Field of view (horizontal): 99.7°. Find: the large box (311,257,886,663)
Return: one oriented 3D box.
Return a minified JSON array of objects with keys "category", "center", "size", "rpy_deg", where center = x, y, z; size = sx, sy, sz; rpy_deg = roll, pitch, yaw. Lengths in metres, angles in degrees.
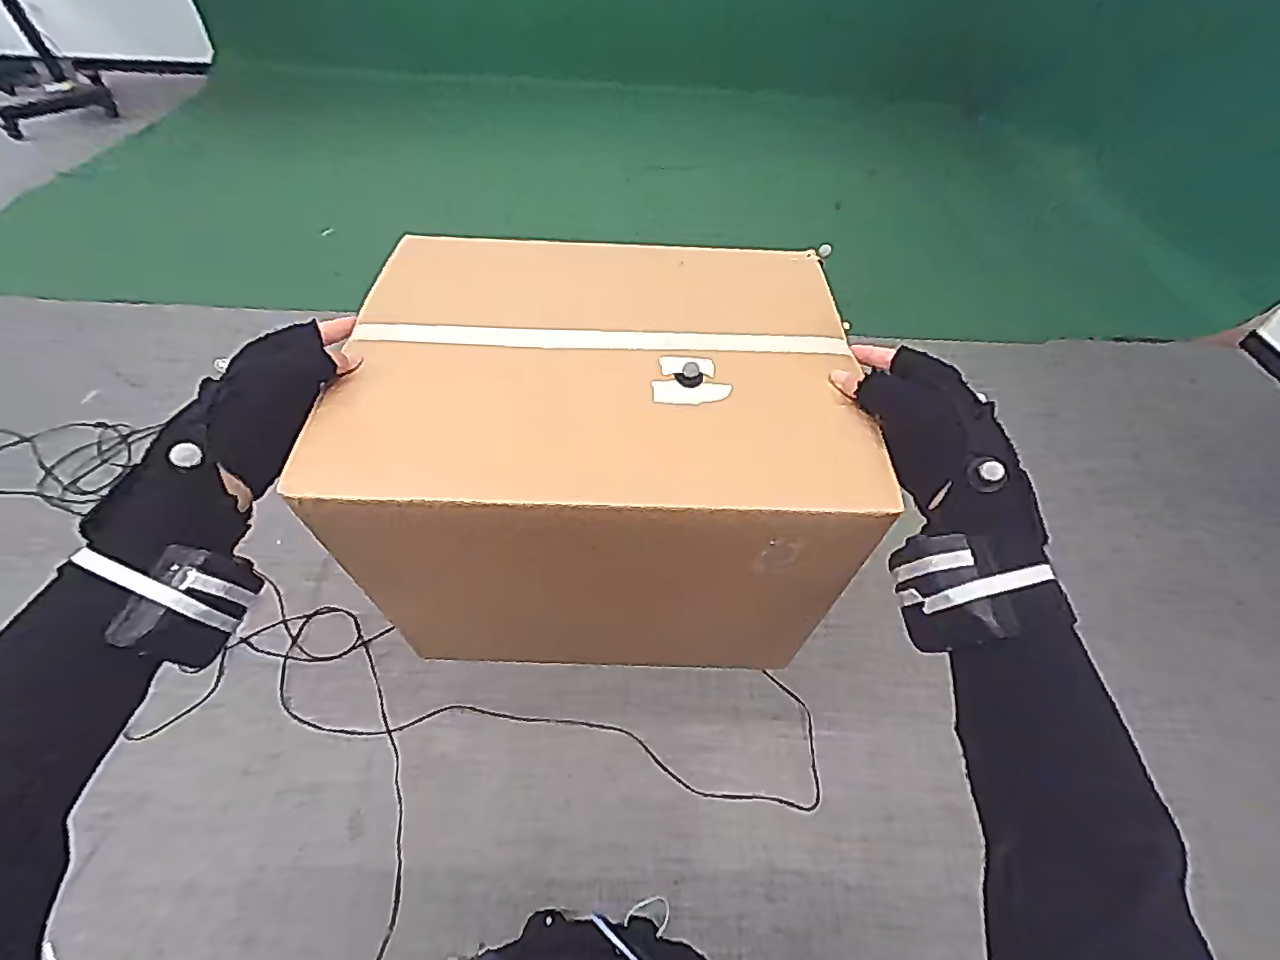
[{"category":"large box","center":[-0.033,-0.009,0.575],"size":[0.408,0.320,0.320],"rpy_deg":[2,52,-2]}]
